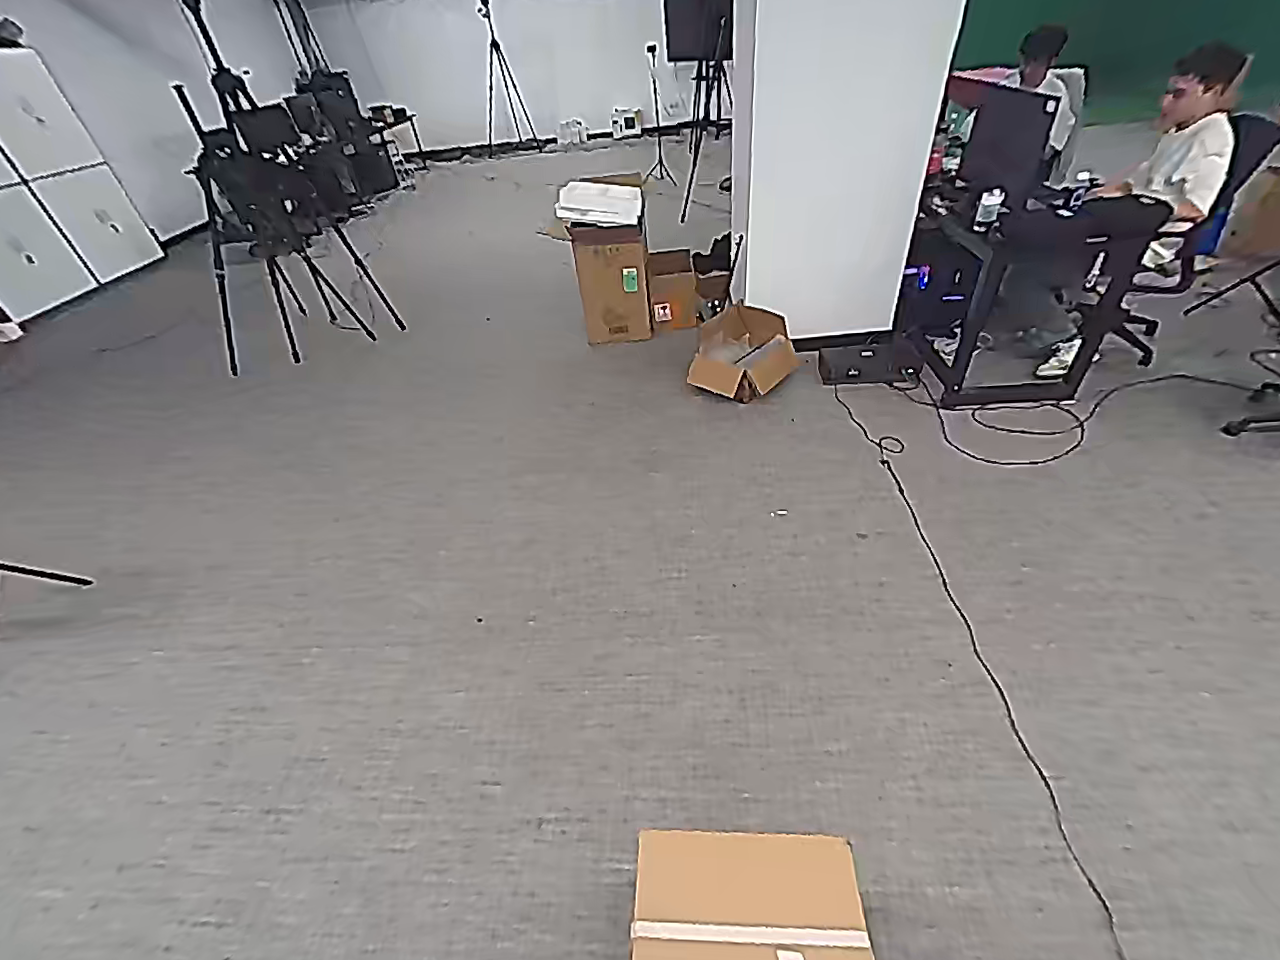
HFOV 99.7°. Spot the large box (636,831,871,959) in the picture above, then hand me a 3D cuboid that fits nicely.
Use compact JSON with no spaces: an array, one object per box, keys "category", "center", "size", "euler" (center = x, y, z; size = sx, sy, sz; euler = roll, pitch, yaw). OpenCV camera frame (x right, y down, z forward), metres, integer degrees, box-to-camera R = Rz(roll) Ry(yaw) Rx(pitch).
[{"category":"large box","center":[0.202,0.907,1.039],"size":[0.408,0.320,0.320],"euler":[-2,40,5]}]
